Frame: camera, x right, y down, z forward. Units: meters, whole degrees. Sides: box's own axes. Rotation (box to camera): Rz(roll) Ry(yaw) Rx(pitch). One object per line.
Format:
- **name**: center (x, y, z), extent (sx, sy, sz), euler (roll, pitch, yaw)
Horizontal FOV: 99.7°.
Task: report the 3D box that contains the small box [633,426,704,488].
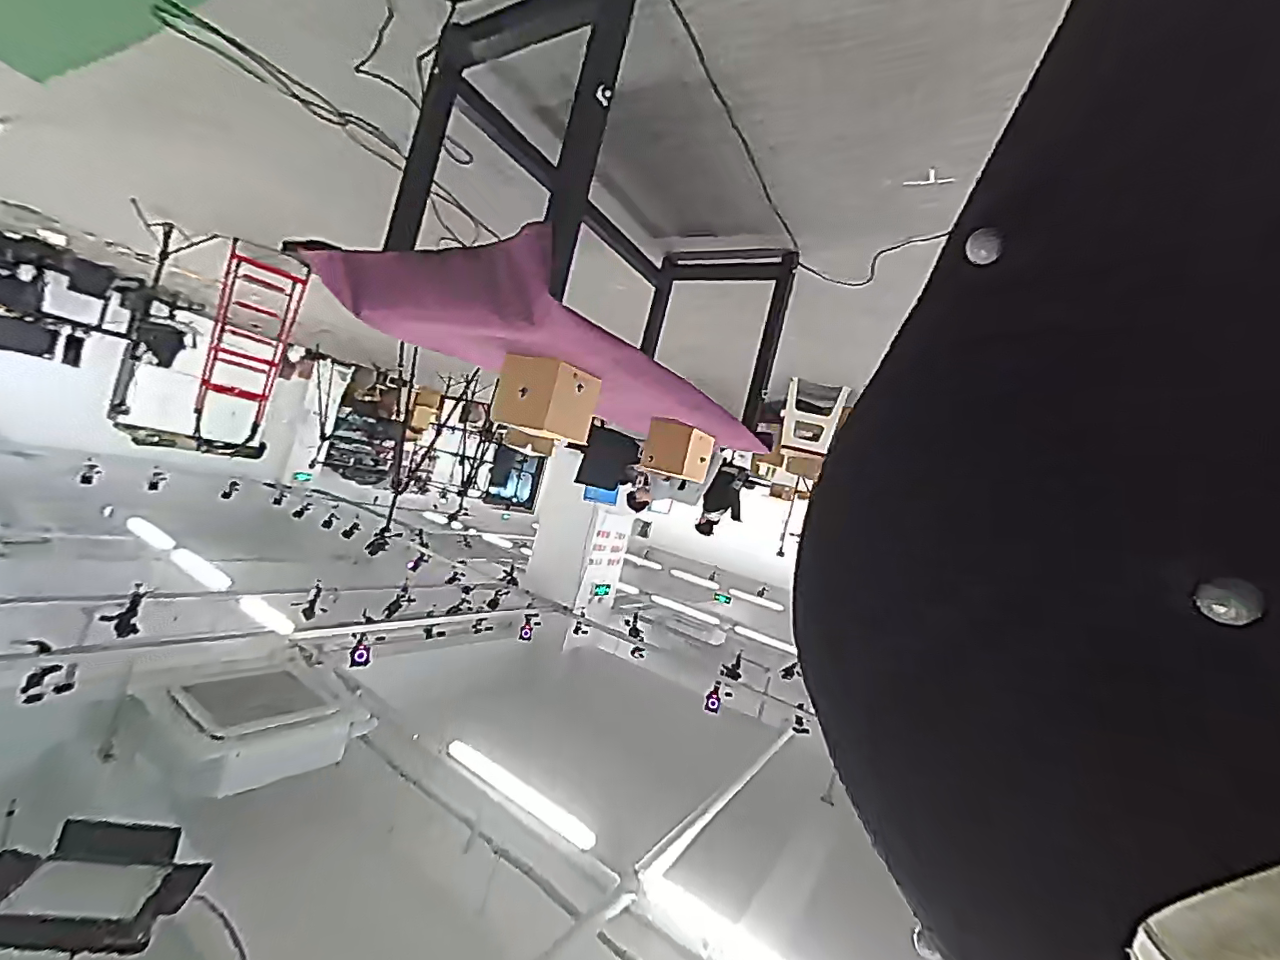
- **small box**: center (0.103, -0.080, 1.835), extent (0.179, 0.176, 0.168), euler (13, 178, 32)
